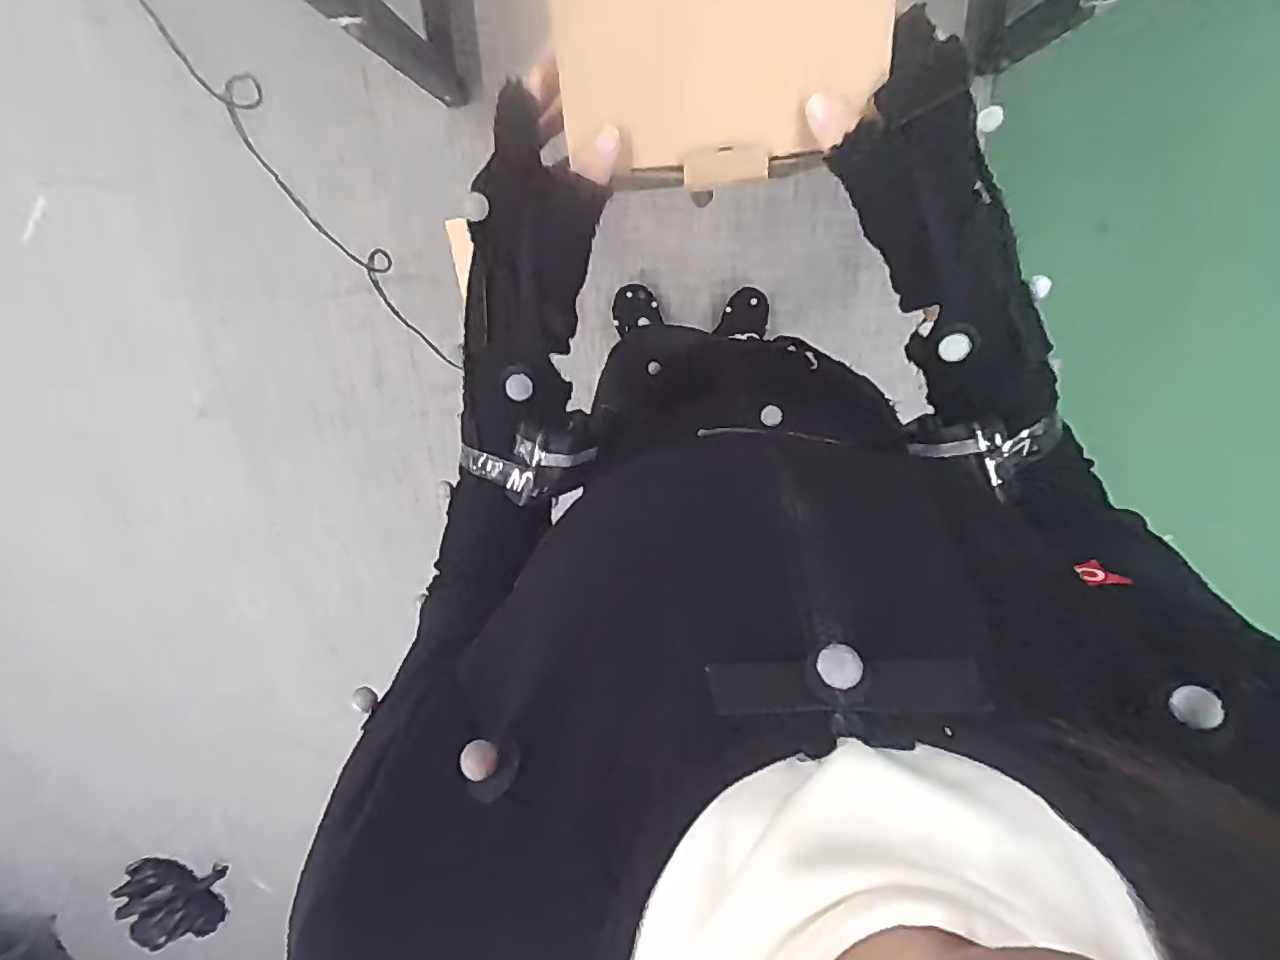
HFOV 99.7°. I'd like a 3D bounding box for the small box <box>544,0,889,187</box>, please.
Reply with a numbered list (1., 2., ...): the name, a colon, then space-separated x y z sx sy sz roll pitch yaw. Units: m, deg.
1. small box: 0.035 -0.281 0.320 0.168 0.176 0.179 -7 115 3
